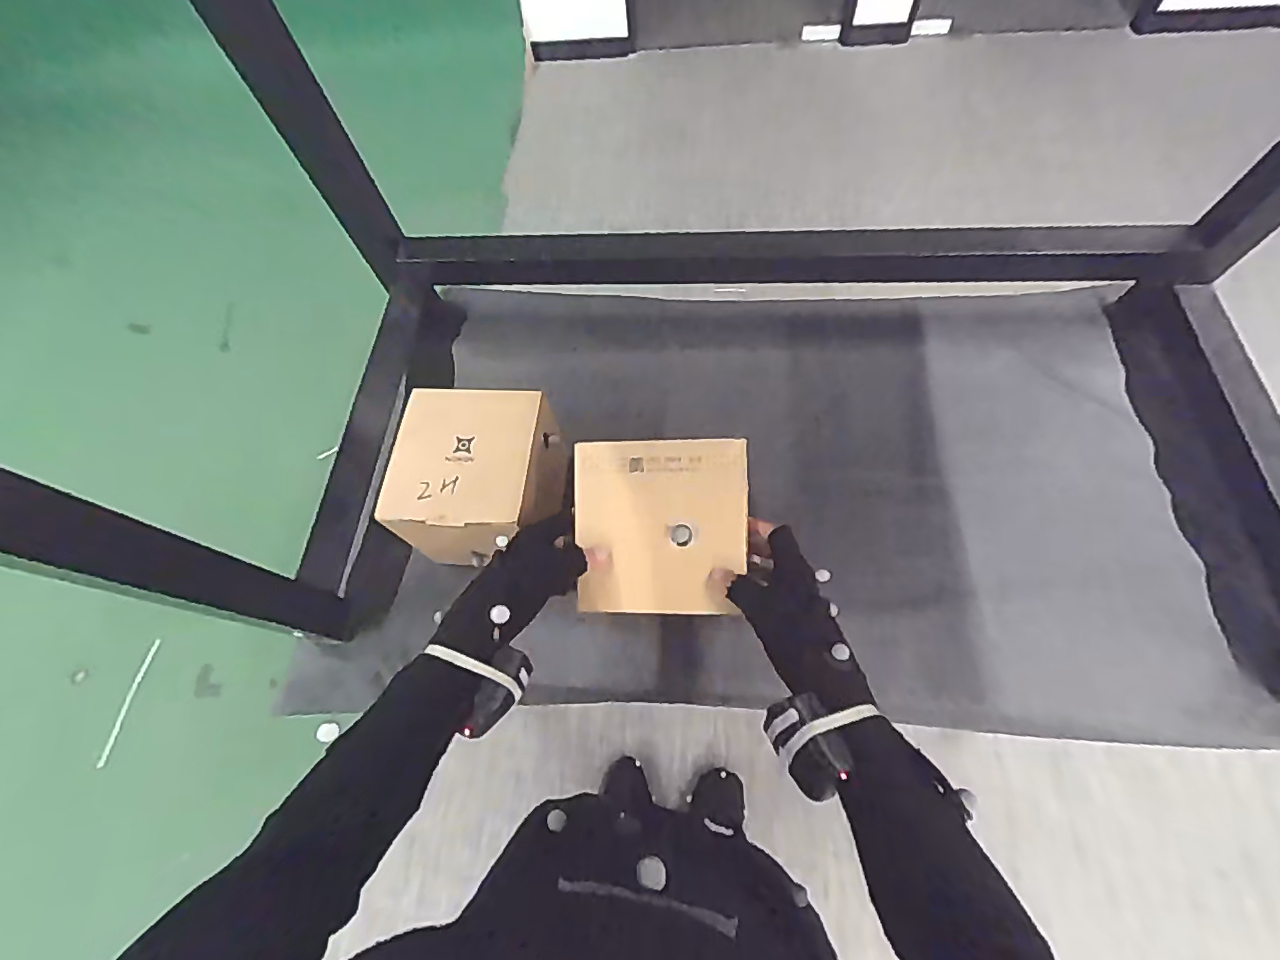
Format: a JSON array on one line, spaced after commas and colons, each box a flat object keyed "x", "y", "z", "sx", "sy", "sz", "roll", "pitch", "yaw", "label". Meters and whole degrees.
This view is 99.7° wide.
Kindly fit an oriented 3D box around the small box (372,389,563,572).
[{"x": -0.202, "y": 0.005, "z": 0.693, "sx": 0.168, "sy": 0.176, "sz": 0.179, "roll": 2, "pitch": 64, "yaw": 6, "label": "small box"}]
